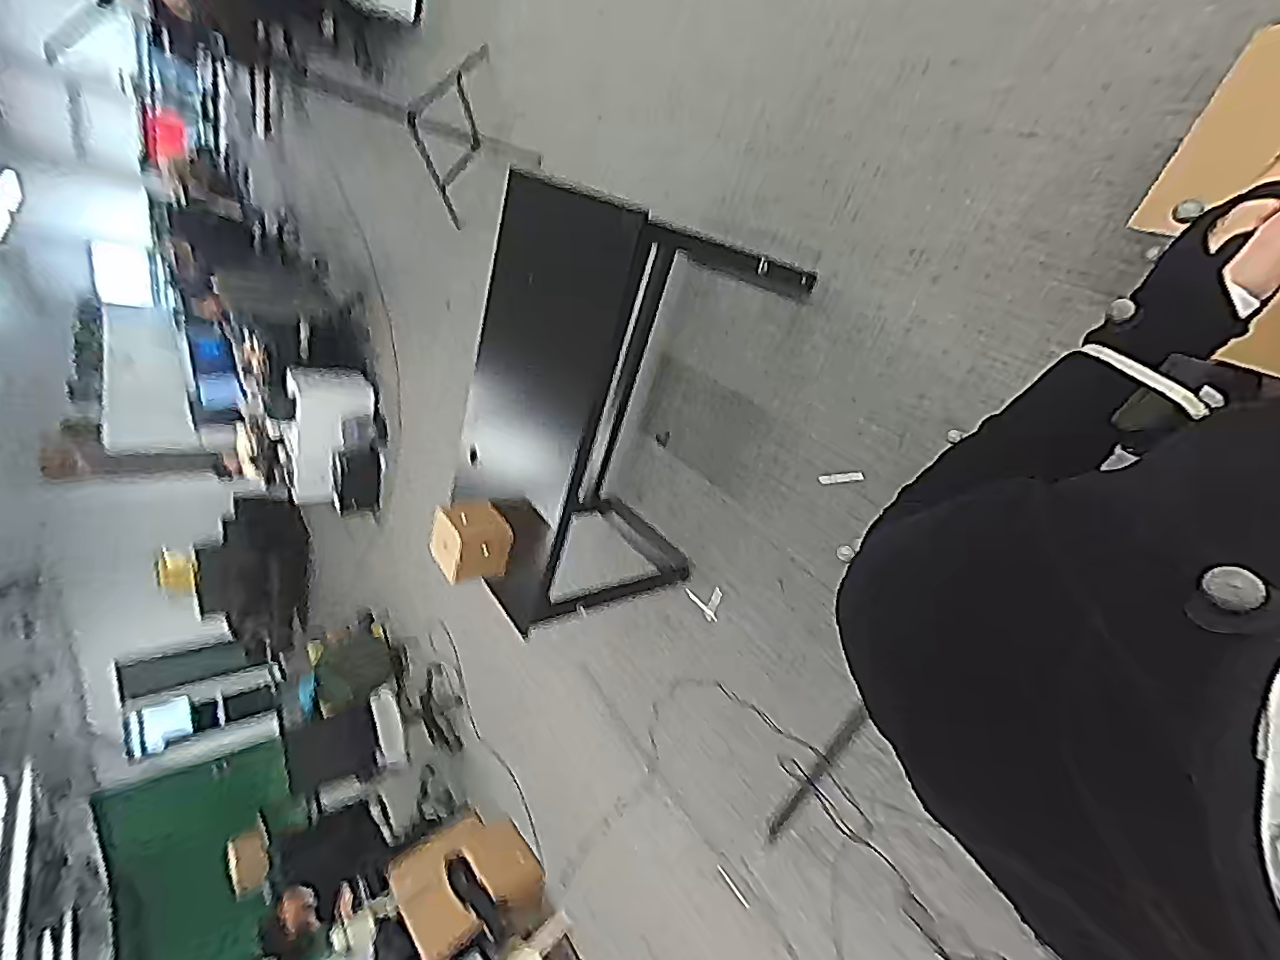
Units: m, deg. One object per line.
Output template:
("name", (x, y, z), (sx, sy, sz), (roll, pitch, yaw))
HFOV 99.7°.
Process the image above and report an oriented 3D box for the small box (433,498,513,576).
("small box", (-0.509, 0.164, 1.647), (0.179, 0.176, 0.168), (40, 121, 38))
